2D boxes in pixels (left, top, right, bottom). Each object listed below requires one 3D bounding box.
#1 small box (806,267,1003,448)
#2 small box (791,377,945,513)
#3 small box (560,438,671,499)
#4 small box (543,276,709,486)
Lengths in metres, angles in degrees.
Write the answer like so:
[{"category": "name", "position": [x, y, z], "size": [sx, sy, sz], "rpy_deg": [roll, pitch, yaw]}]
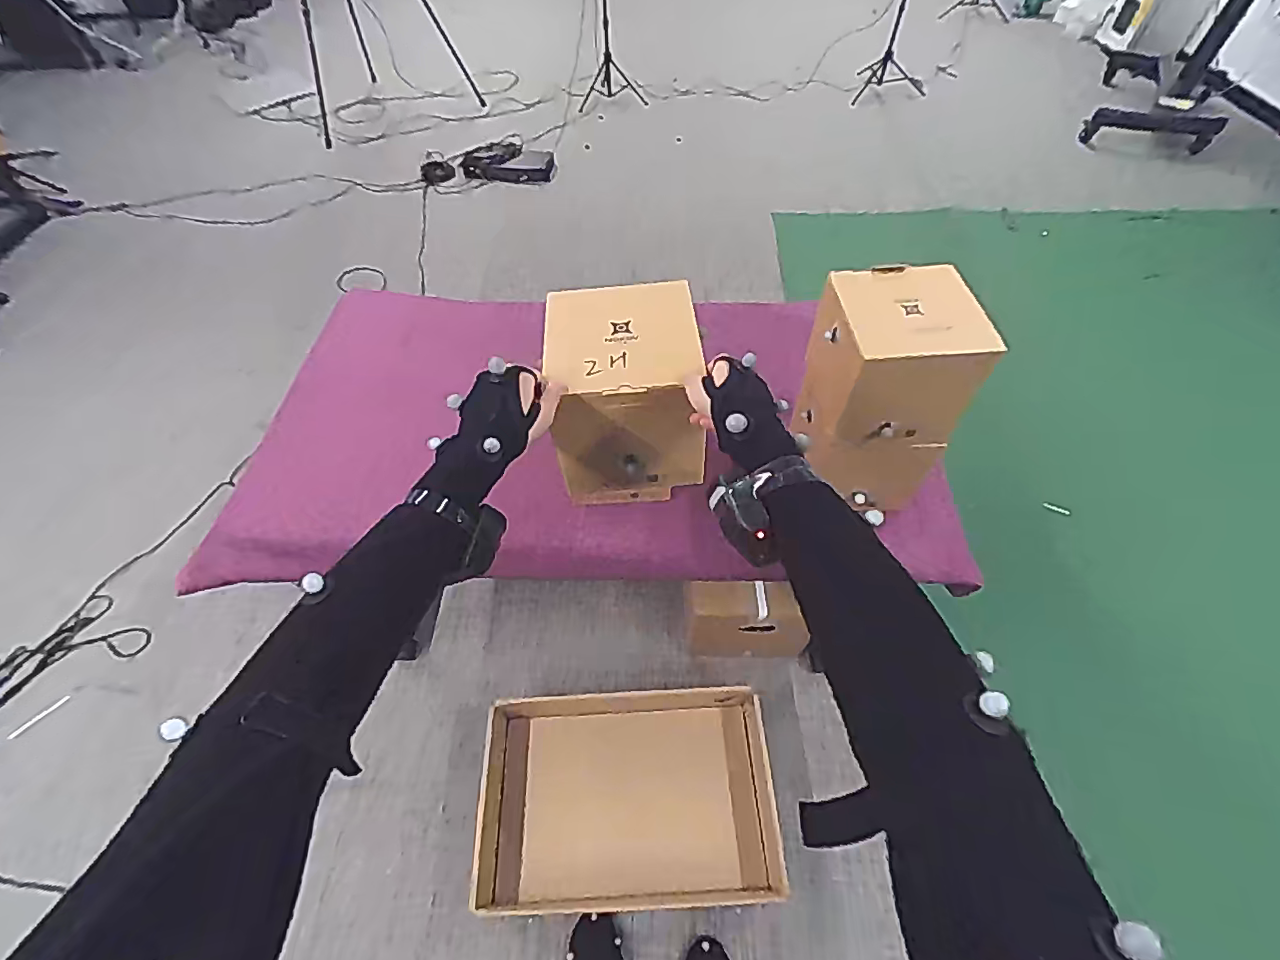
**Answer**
[{"category": "small box", "position": [0.337, -0.163, 0.734], "size": [0.168, 0.176, 0.179], "rpy_deg": [-3, 53, 1]}, {"category": "small box", "position": [0.346, -0.066, 0.864], "size": [0.168, 0.176, 0.179], "rpy_deg": [0, 54, 2]}, {"category": "small box", "position": [-0.035, -0.079, 0.885], "size": [0.168, 0.176, 0.179], "rpy_deg": [-3, 54, -1]}, {"category": "small box", "position": [-0.014, -0.114, 0.642], "size": [0.168, 0.176, 0.179], "rpy_deg": [-5, 54, 1]}]
